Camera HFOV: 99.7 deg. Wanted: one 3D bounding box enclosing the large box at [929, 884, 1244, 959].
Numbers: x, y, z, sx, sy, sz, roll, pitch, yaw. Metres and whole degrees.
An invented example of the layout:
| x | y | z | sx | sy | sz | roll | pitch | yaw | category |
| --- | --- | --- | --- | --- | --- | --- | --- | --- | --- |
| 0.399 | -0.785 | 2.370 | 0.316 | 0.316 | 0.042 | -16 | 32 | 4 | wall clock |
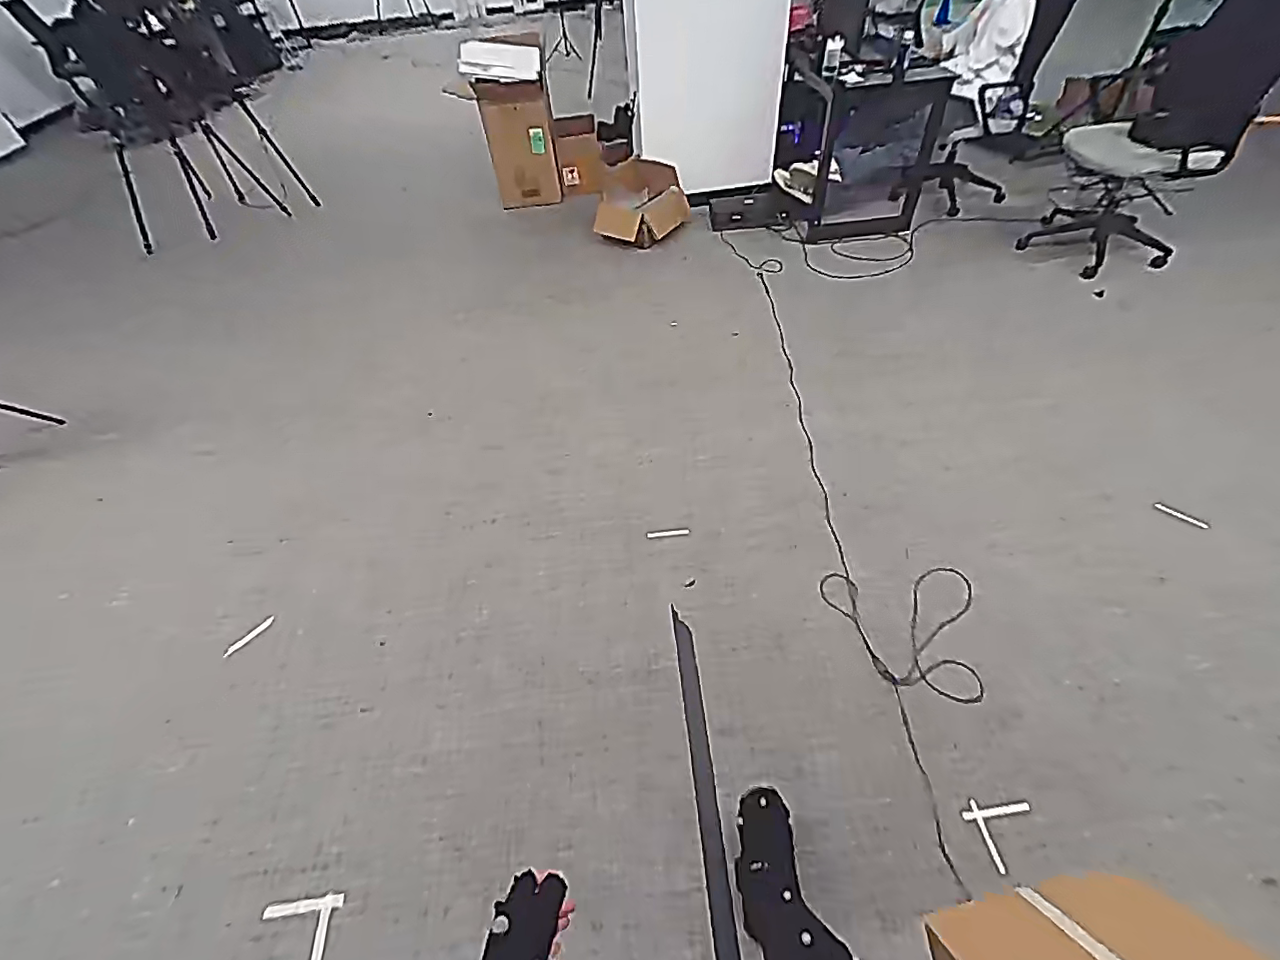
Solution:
| x | y | z | sx | sy | sz | roll | pitch | yaw | category |
| --- | --- | --- | --- | --- | --- | --- | --- | --- | --- |
| 0.592 | 0.729 | 0.567 | 0.320 | 0.408 | 0.320 | -10 | 82 | -4 | large box |
